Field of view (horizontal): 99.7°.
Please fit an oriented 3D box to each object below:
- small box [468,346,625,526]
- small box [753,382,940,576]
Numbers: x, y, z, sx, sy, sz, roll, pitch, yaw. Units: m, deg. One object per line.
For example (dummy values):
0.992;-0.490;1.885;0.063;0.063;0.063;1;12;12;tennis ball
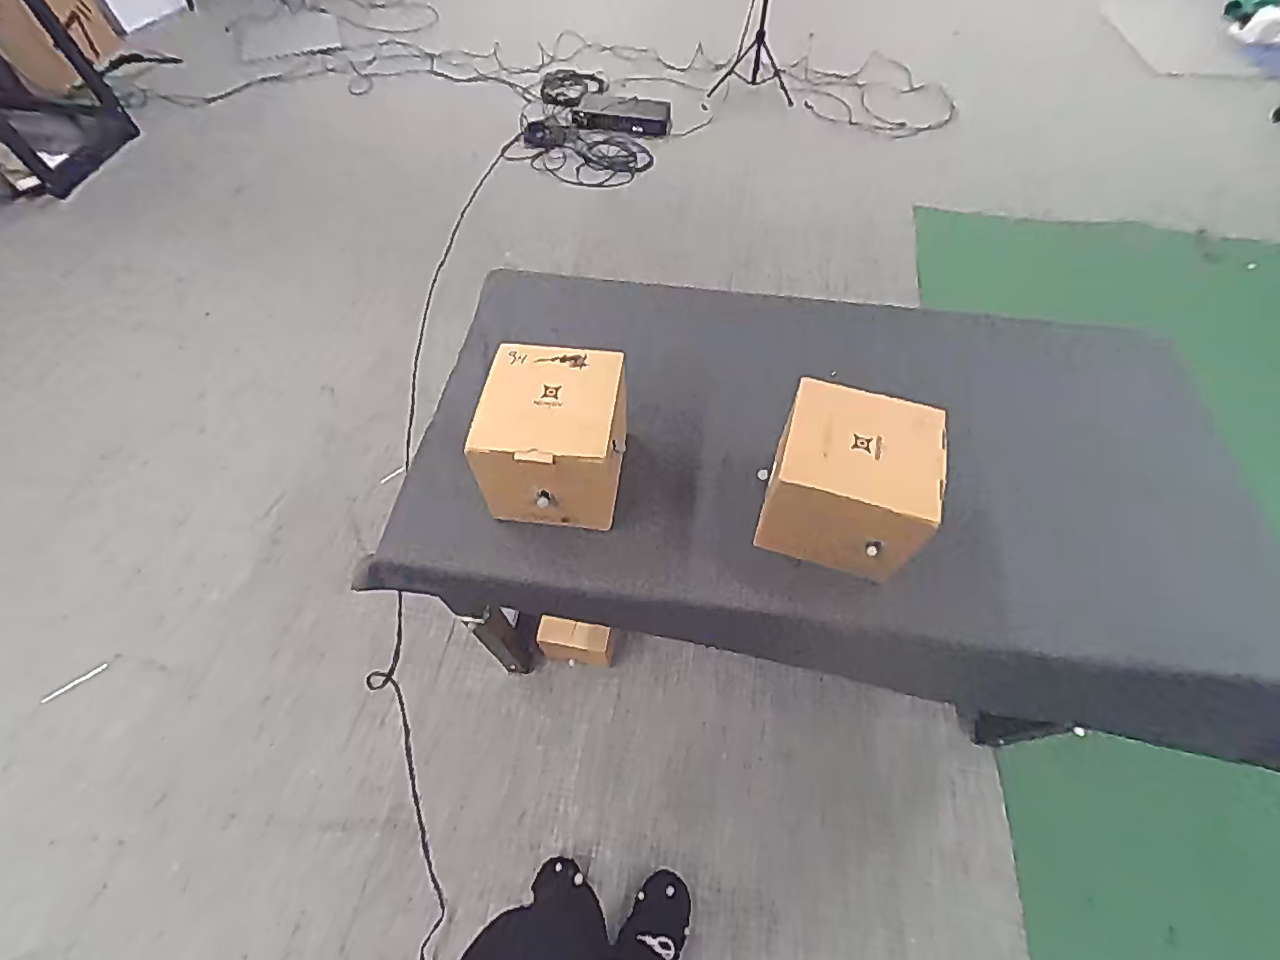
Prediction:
-0.110;-0.053;0.729;0.168;0.176;0.179;6;57;2;small box
0.259;0.006;0.698;0.179;0.176;0.168;15;57;10;small box
